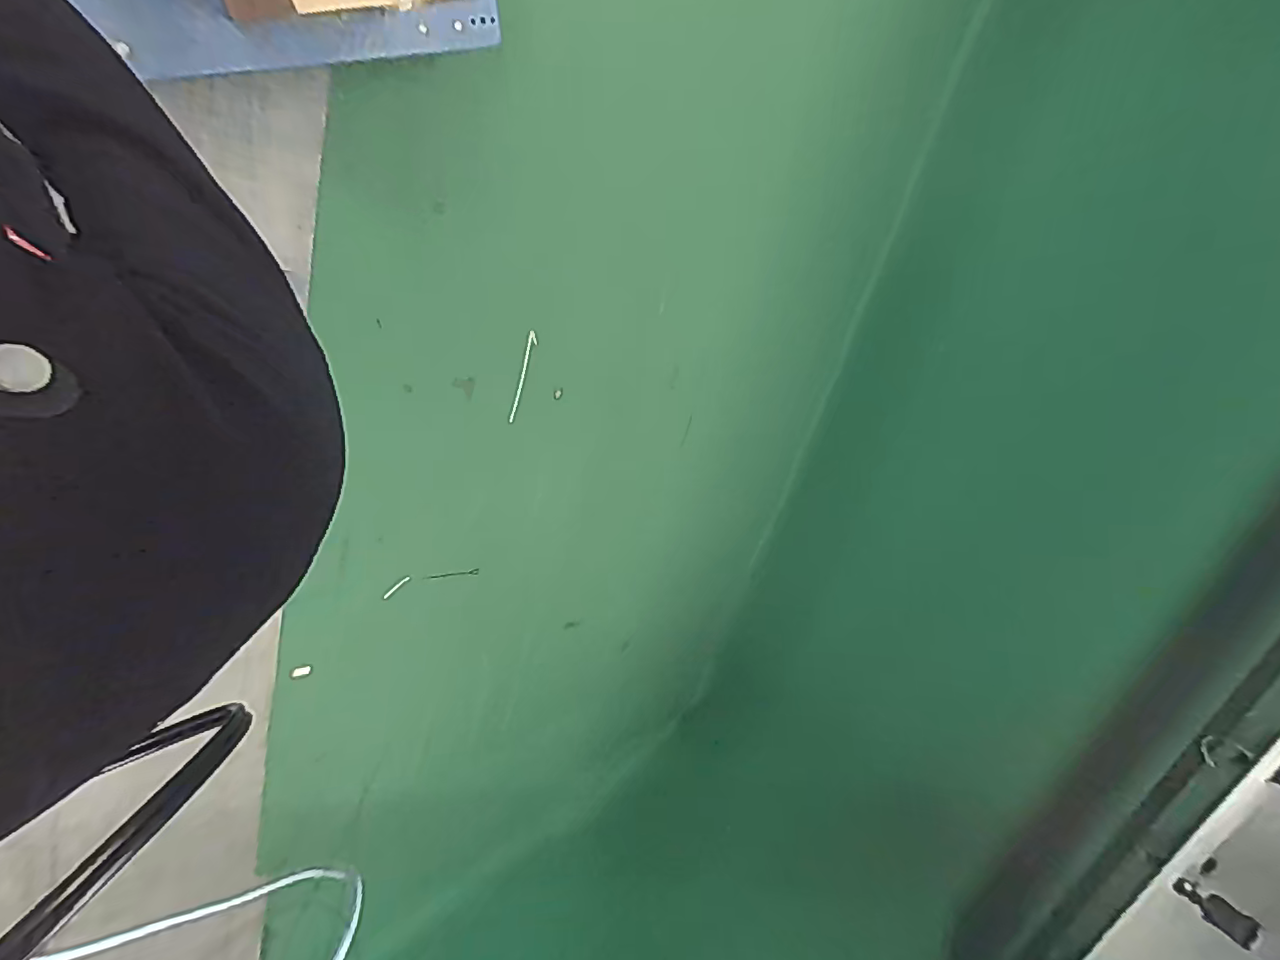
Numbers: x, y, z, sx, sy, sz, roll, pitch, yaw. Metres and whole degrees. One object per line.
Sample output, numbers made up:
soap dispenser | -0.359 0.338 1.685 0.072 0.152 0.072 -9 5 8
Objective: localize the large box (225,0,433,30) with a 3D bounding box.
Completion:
large box | -0.483 -0.915 0.753 0.320 0.320 0.408 -37 139 -29
